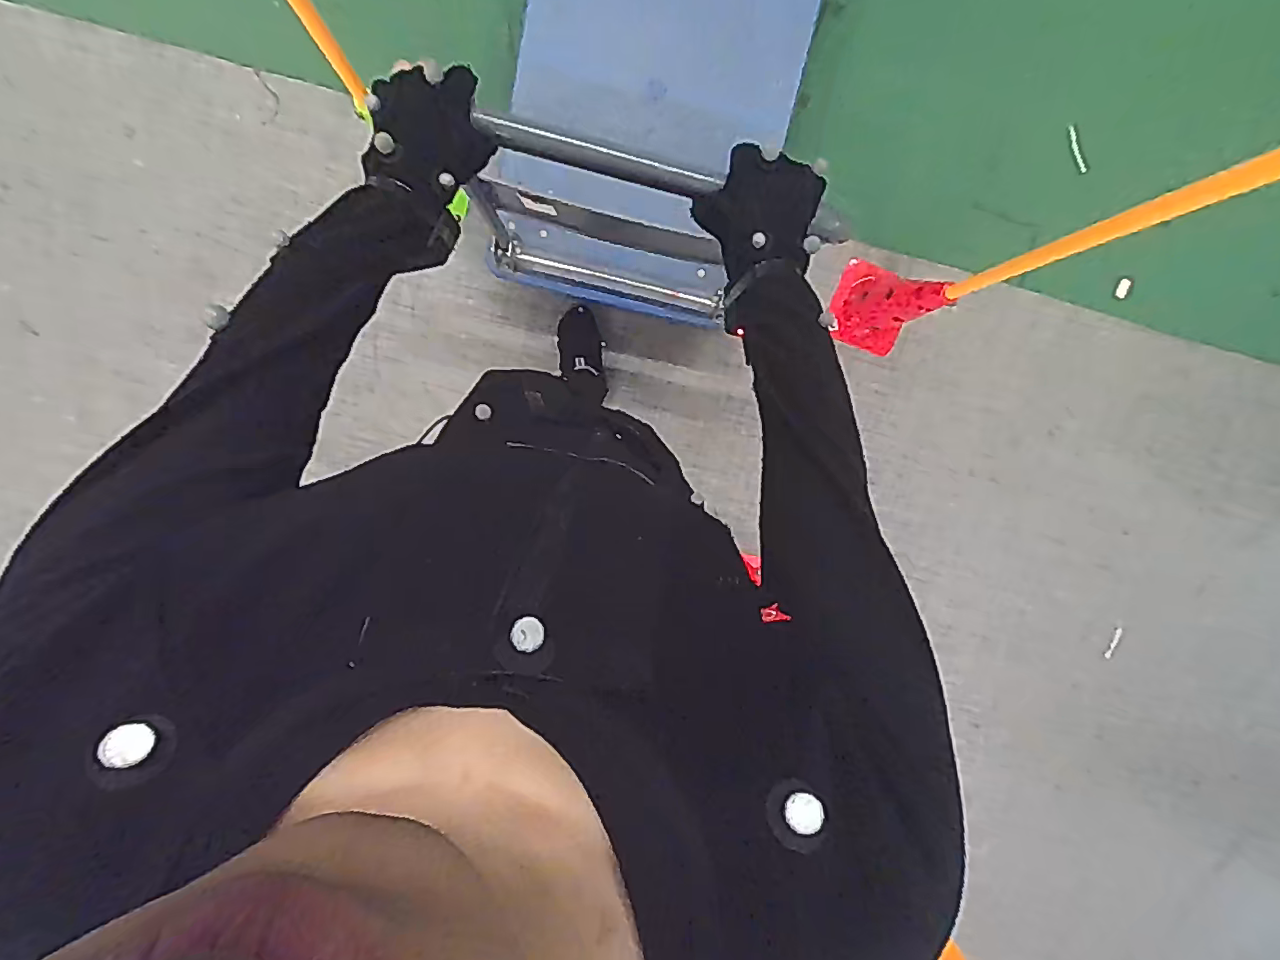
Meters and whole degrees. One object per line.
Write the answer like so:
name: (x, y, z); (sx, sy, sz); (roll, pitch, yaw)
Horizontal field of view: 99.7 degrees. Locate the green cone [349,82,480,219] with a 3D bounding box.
green cone: (-0.490, -0.715, 1.119); (0.202, 0.368, 0.200); (18, 101, -6)
